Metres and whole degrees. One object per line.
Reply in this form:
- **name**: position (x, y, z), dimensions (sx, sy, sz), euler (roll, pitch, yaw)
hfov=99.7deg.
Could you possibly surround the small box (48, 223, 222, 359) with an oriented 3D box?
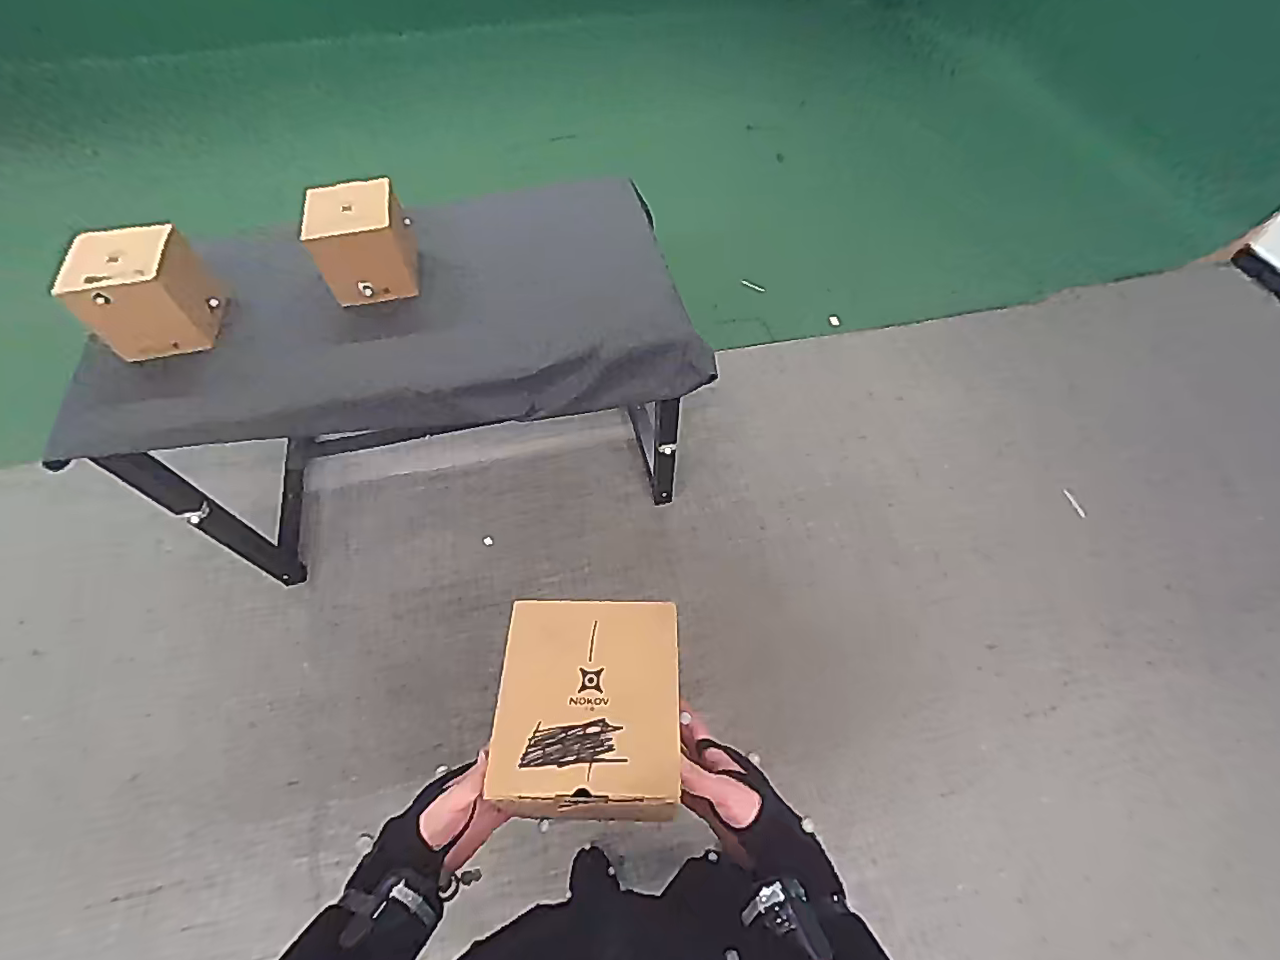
- **small box**: position (-0.957, -0.364, 1.048), dimensions (0.168, 0.176, 0.179), euler (-13, 59, -7)

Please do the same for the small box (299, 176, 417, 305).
- **small box**: position (-0.582, -0.498, 1.134), dimensions (0.168, 0.176, 0.179), euler (-13, 61, -7)

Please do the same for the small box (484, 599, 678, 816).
- **small box**: position (-0.046, 0.237, 0.556), dimensions (0.168, 0.176, 0.179), euler (0, 53, 0)
